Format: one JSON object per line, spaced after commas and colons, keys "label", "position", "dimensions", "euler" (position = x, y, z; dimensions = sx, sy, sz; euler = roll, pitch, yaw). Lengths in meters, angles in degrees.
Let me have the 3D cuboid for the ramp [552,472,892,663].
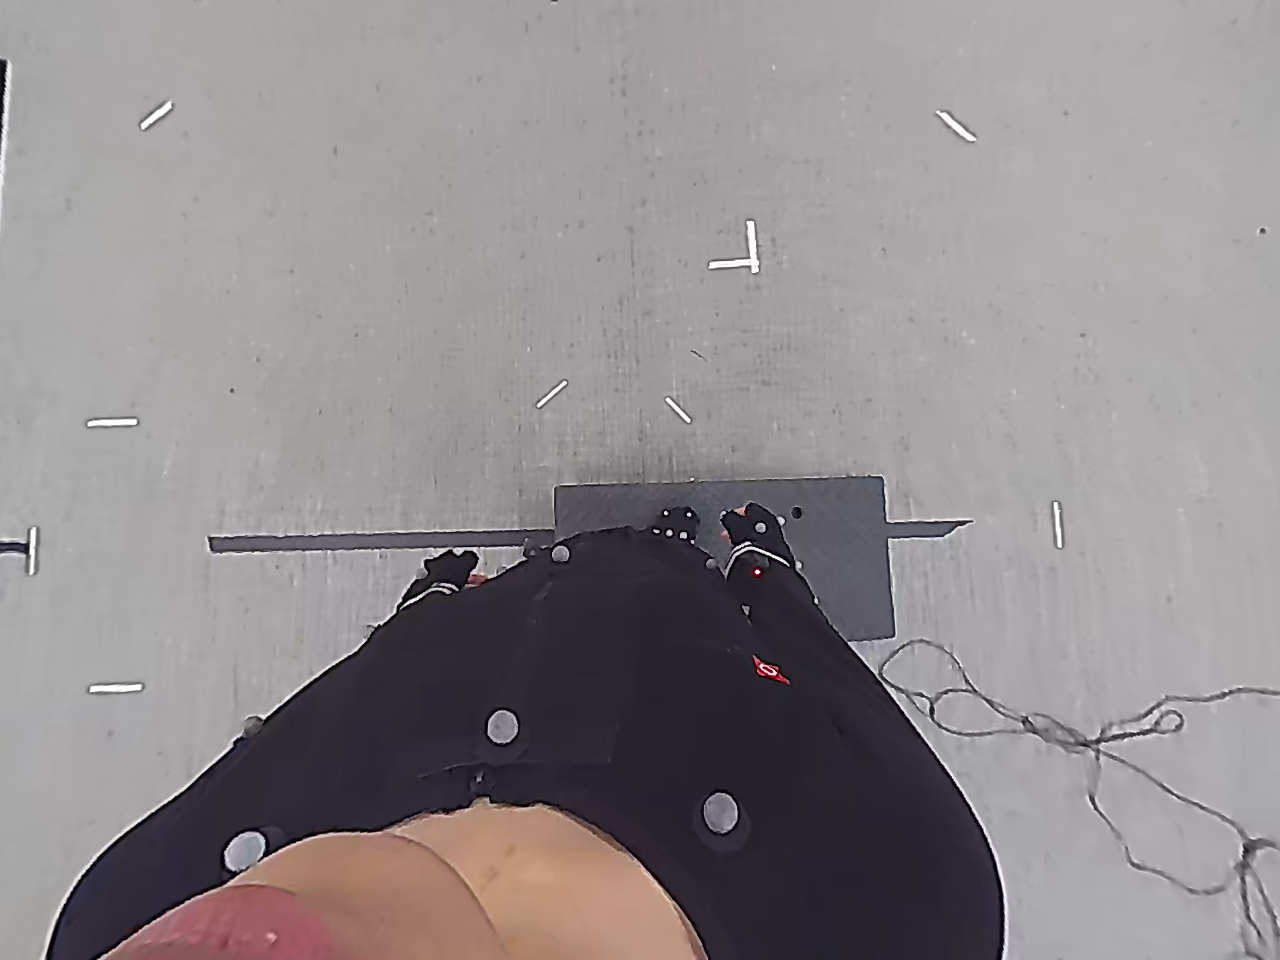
{"label": "ramp", "position": [0.256, 0.231, 1.557], "dimensions": [0.991, 0.206, 0.509], "euler": [-4, 84, -1]}
